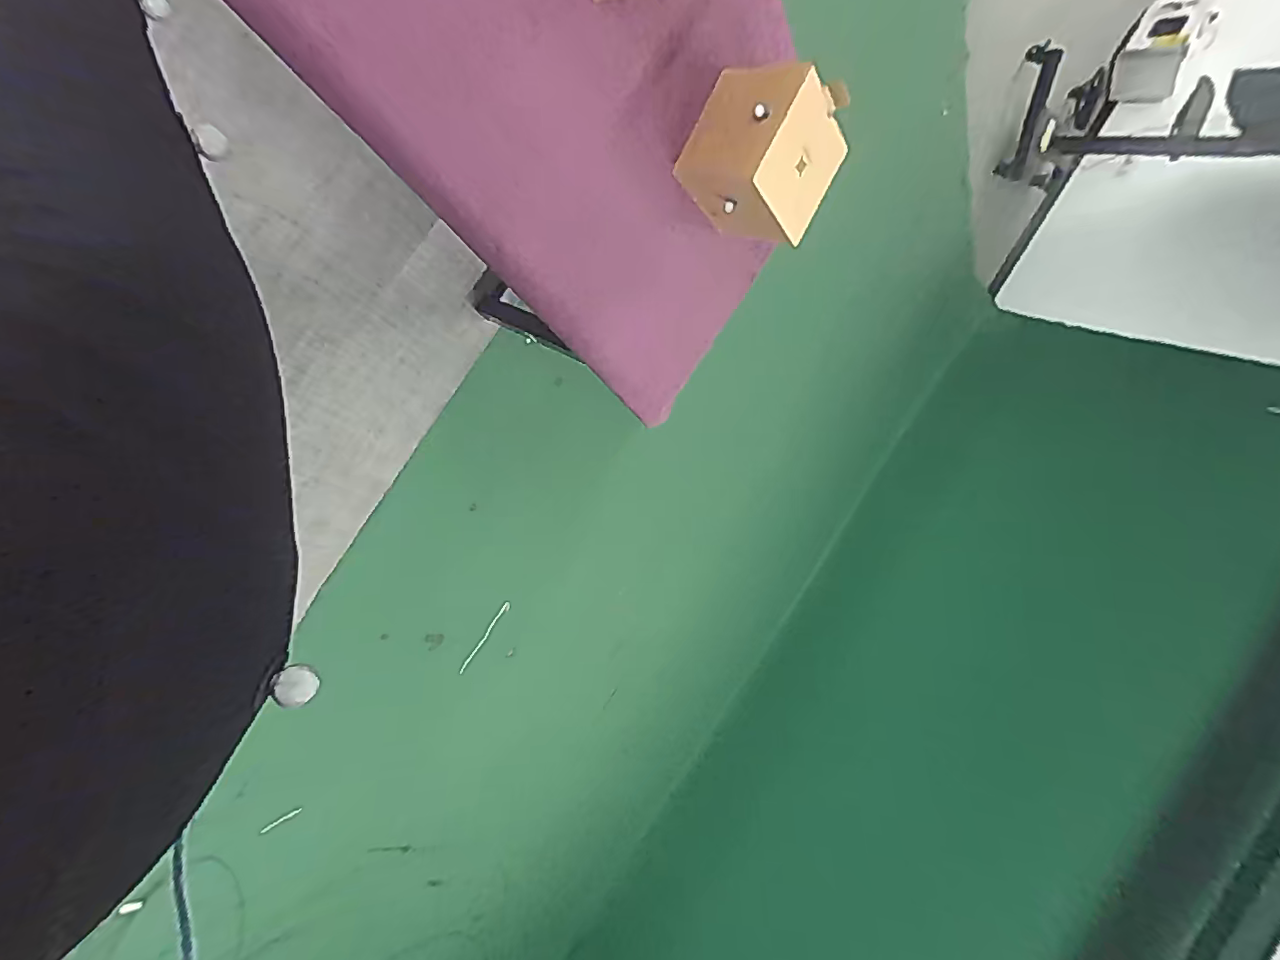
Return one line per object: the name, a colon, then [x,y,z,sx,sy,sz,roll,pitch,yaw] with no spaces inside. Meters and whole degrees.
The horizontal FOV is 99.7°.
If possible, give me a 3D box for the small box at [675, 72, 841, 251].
small box: [0.181,-0.498,0.861,0.168,0.176,0.179,23,96,-50]
